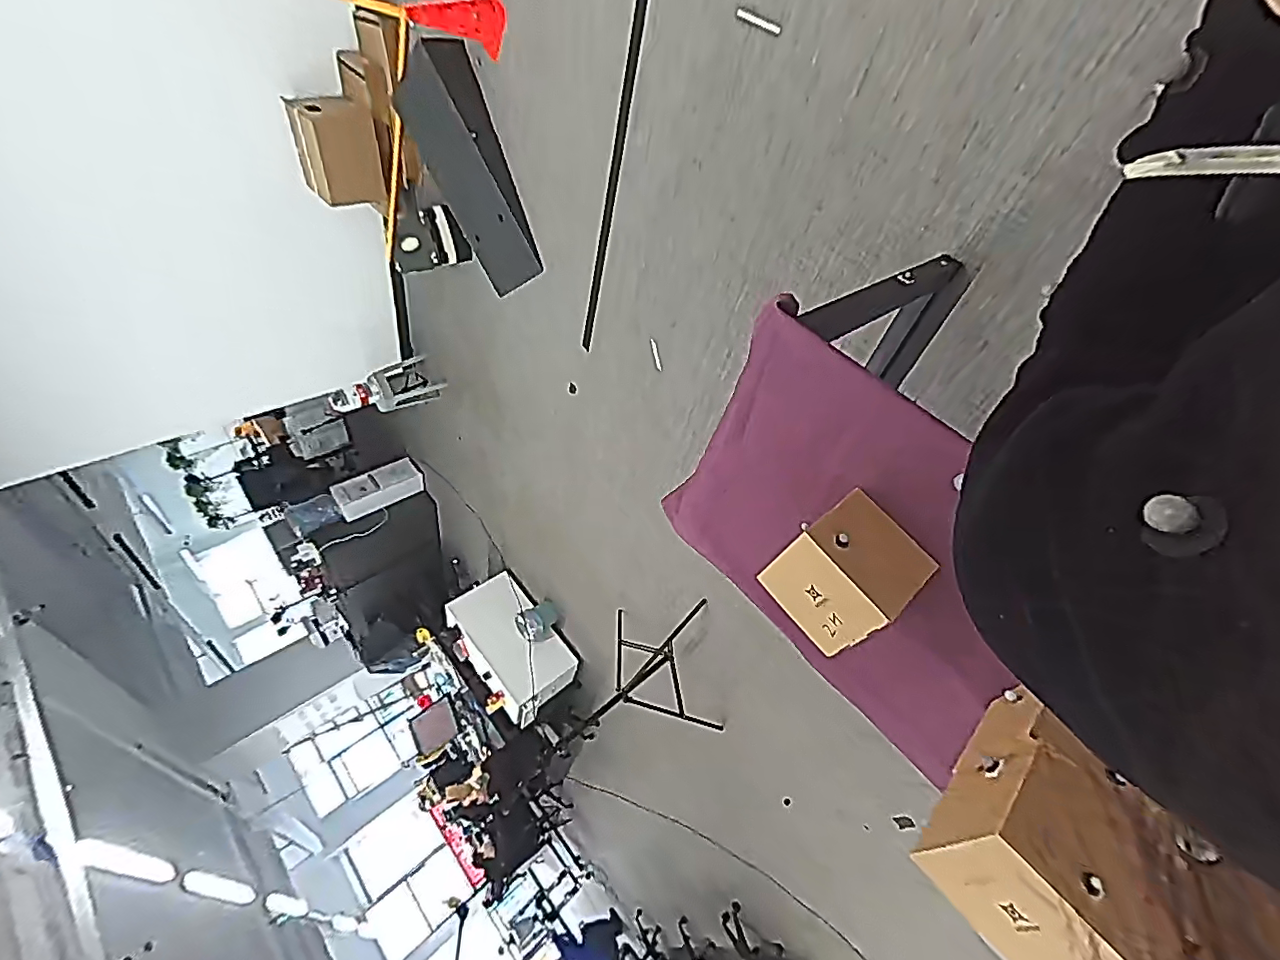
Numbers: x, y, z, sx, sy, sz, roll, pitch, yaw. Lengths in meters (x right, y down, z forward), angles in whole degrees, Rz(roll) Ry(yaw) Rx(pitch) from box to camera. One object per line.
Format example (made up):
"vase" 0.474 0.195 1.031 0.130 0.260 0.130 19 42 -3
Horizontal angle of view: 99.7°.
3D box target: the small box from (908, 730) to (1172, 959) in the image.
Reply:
"small box" 0.479 0.446 0.654 0.179 0.176 0.168 46 142 23

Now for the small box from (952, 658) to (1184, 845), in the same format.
"small box" 0.592 0.388 0.755 0.179 0.176 0.168 44 142 25

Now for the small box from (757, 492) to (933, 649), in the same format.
"small box" 0.339 0.142 0.903 0.179 0.176 0.168 48 145 17

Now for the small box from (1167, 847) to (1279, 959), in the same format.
"small box" 0.789 0.575 0.638 0.168 0.176 0.179 42 142 25
